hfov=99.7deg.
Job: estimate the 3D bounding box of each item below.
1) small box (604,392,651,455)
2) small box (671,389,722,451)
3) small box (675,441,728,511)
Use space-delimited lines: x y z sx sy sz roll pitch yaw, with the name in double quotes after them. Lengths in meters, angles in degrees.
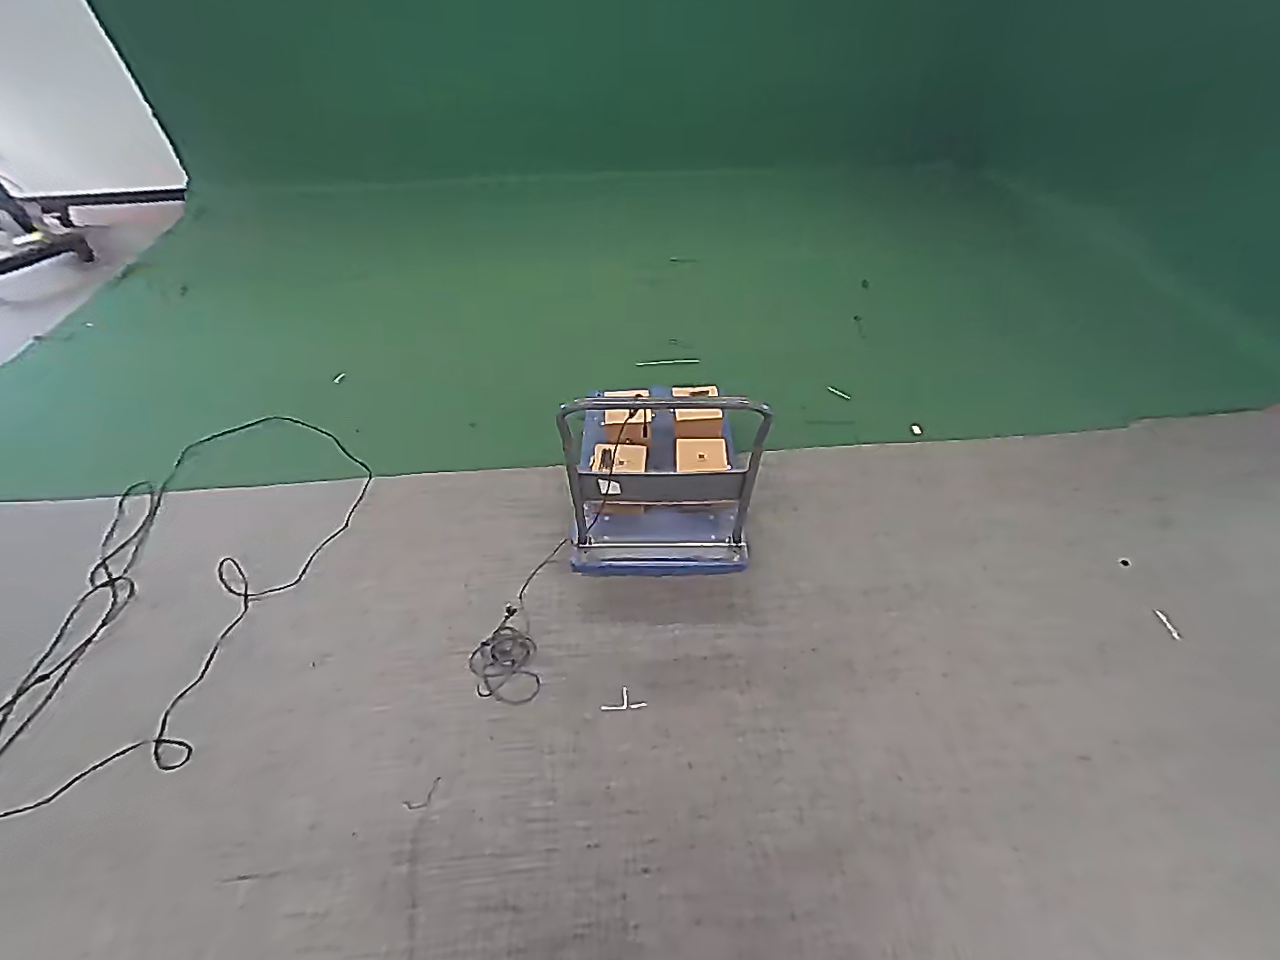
-0.045 -0.203 2.009 0.168 0.176 0.179 -3 49 -1 "small box"
0.206 -0.219 2.014 0.168 0.176 0.179 -4 50 0 "small box"
0.203 -0.014 1.837 0.168 0.176 0.179 0 50 2 "small box"
